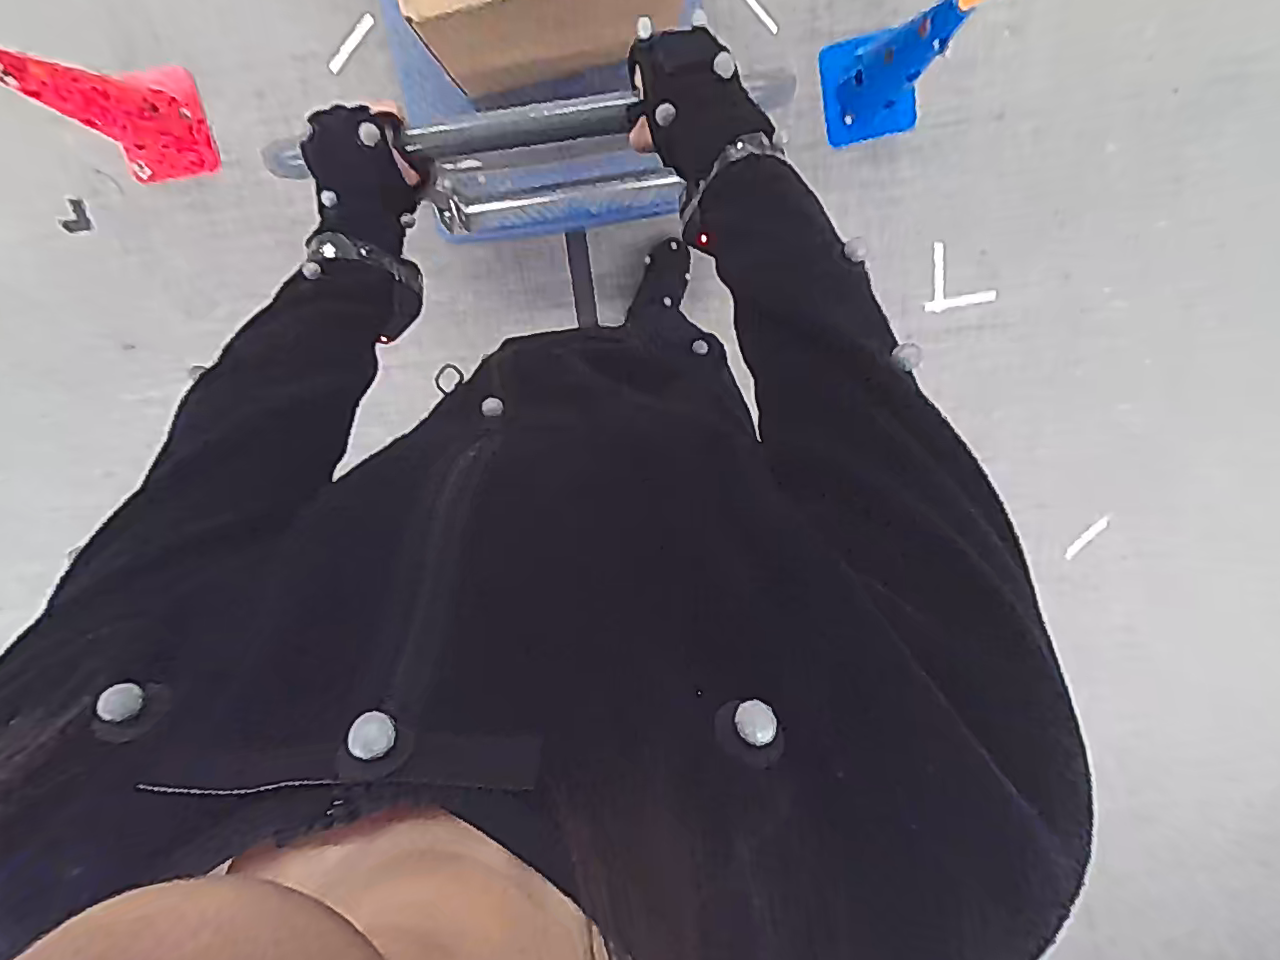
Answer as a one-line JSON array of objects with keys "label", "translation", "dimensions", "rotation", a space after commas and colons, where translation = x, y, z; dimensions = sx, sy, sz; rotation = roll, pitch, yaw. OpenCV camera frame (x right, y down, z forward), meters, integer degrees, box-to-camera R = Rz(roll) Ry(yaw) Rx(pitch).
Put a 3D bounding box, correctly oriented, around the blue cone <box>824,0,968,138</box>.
[{"label": "blue cone", "translation": [0.508, -0.816, 1.022], "dimensions": [0.193, 0.380, 0.192], "rotation": [-11, 107, 2]}]
